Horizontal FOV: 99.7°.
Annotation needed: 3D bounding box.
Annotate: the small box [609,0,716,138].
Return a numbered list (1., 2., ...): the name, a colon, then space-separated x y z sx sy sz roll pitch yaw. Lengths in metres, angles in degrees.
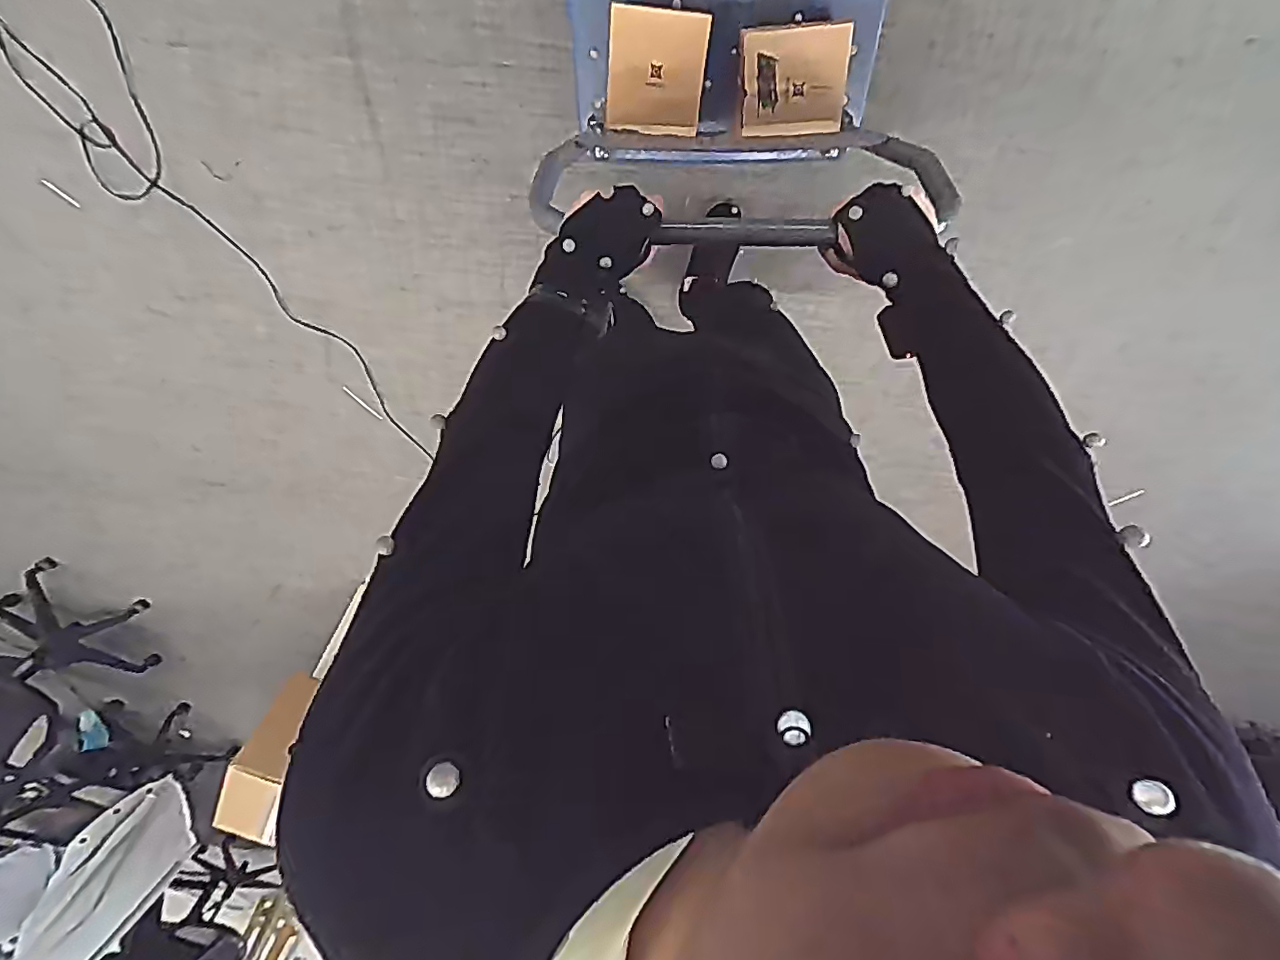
1. small box: 0.037 -0.749 0.983 0.168 0.176 0.179 7 133 -1
